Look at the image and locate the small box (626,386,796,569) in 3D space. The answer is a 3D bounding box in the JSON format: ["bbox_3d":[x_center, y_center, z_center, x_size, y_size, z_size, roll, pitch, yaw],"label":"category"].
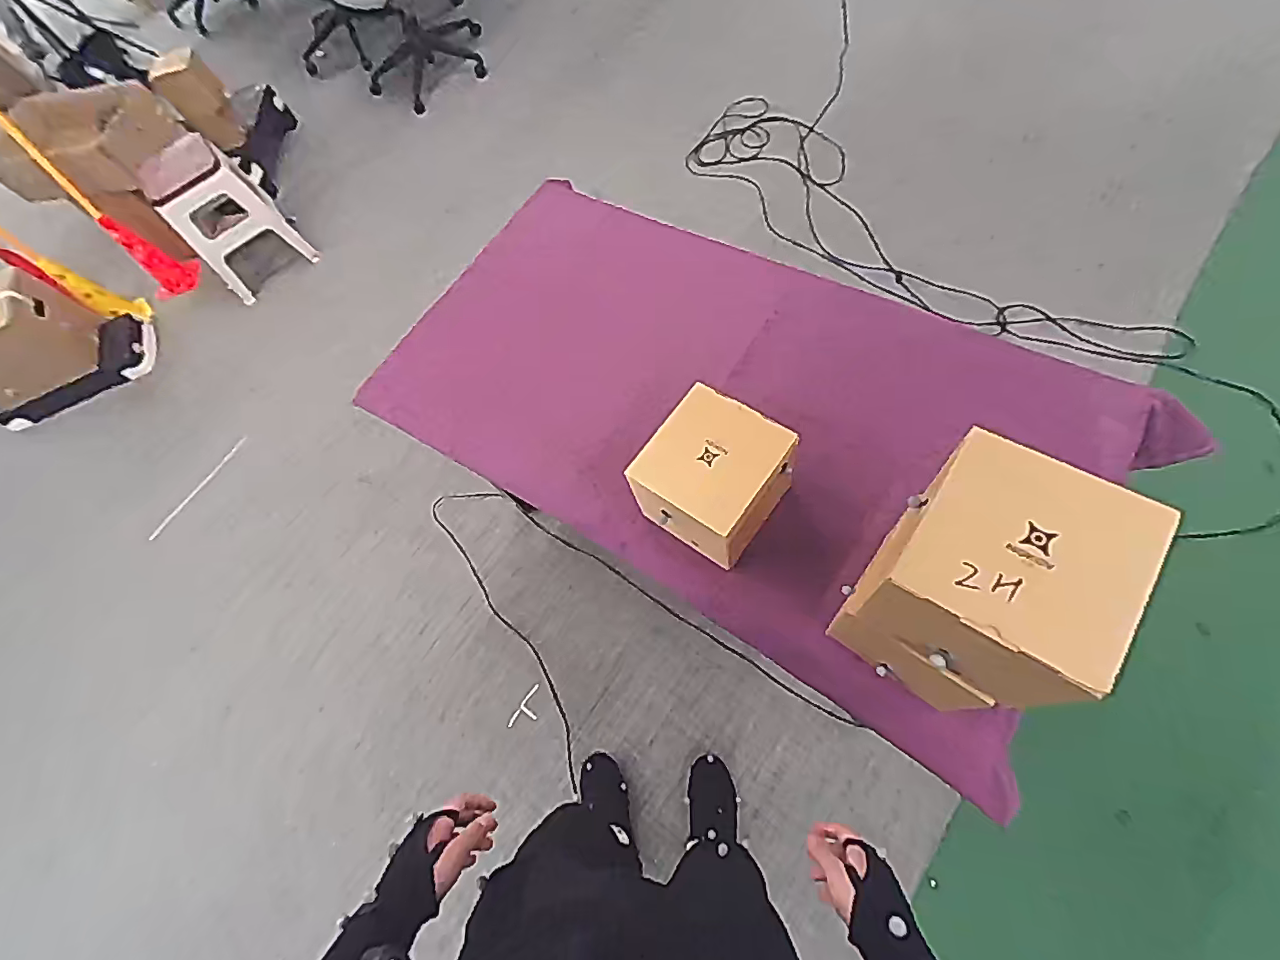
[{"bbox_3d":[0.107,0.004,0.789,0.168,0.176,0.179,32,74,22],"label":"small box"}]

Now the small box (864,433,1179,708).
[{"bbox_3d":[0.338,0.093,0.518,0.168,0.176,0.179,31,75,23],"label":"small box"}]
